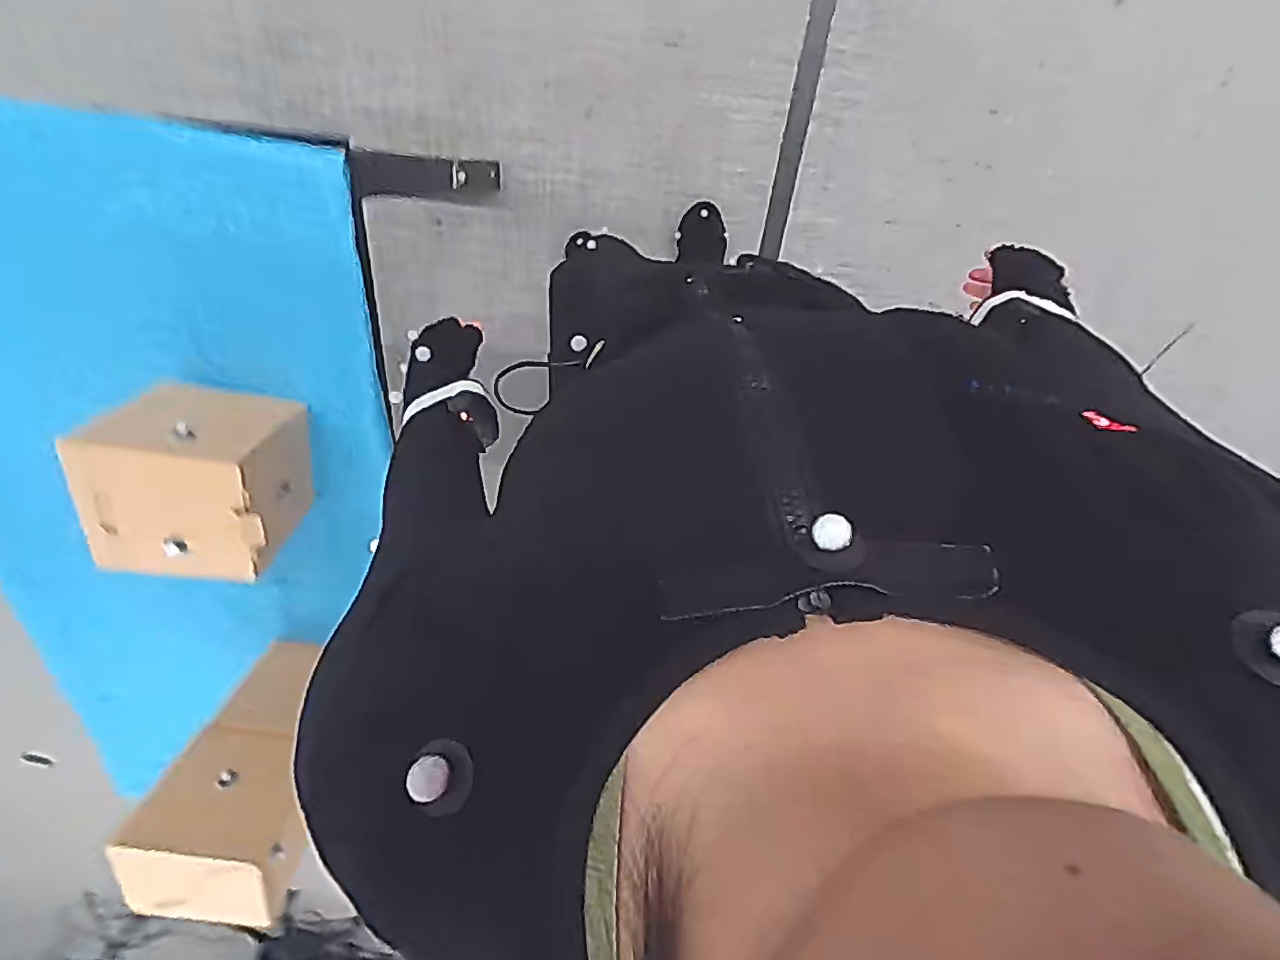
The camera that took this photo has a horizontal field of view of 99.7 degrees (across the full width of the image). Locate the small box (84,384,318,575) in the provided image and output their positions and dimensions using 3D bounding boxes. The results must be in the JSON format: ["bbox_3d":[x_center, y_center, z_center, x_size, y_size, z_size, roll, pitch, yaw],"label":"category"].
[{"bbox_3d":[-0.530,-0.005,0.672,0.176,0.179,0.168,8,119,-12],"label":"small box"}]

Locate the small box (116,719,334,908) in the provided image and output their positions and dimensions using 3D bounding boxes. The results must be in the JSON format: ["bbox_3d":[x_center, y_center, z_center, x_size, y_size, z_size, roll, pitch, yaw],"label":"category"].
[{"bbox_3d":[-0.567,0.473,0.766,0.179,0.176,0.168,12,119,-8],"label":"small box"}]
